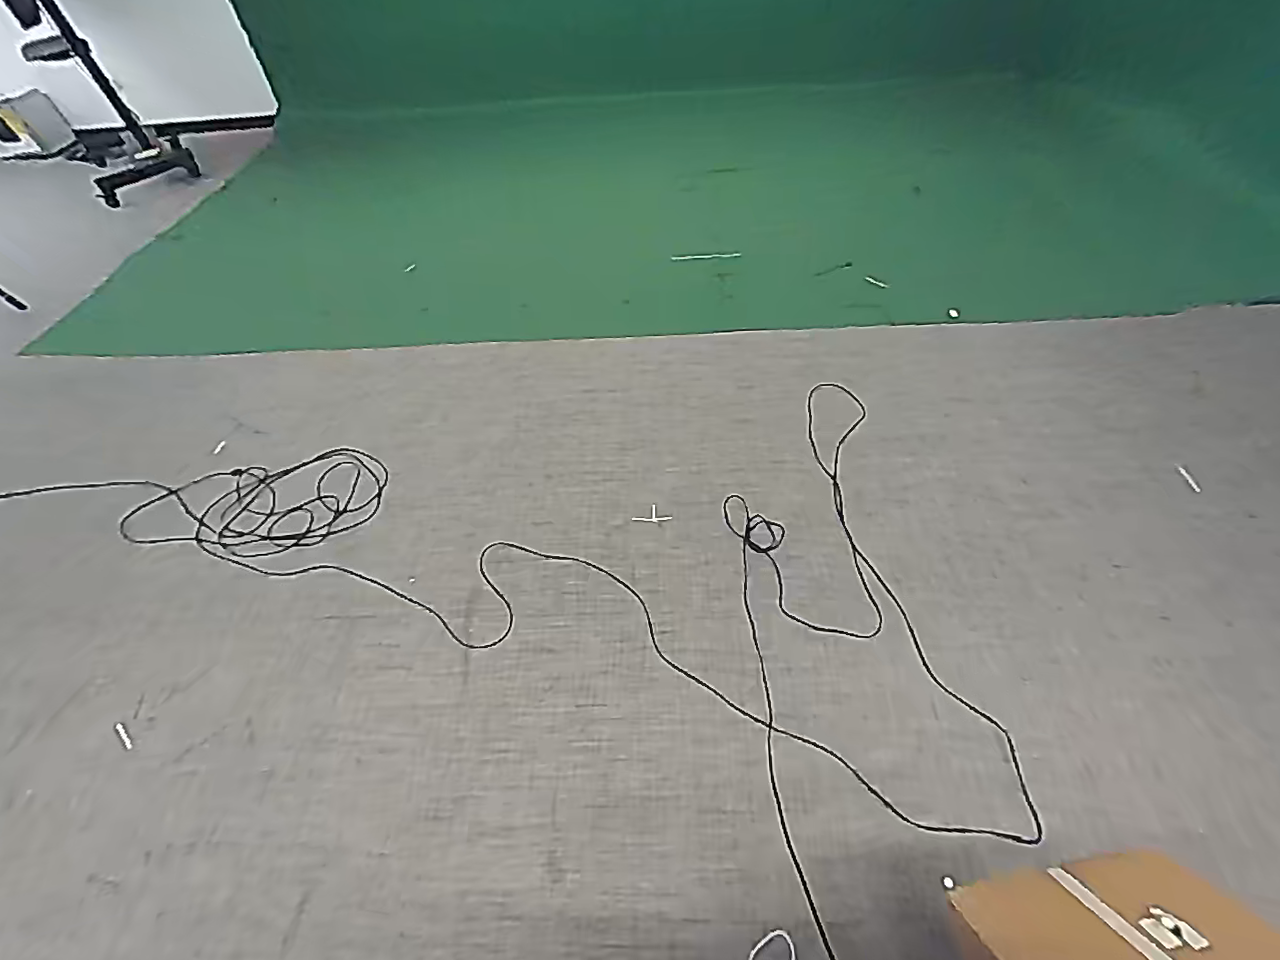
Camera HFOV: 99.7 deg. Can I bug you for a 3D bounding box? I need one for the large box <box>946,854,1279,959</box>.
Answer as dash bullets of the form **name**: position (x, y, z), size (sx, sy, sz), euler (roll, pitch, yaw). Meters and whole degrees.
- **large box**: position (0.621, 0.703, 0.575), size (0.320, 0.408, 0.320), euler (-10, 85, -1)
